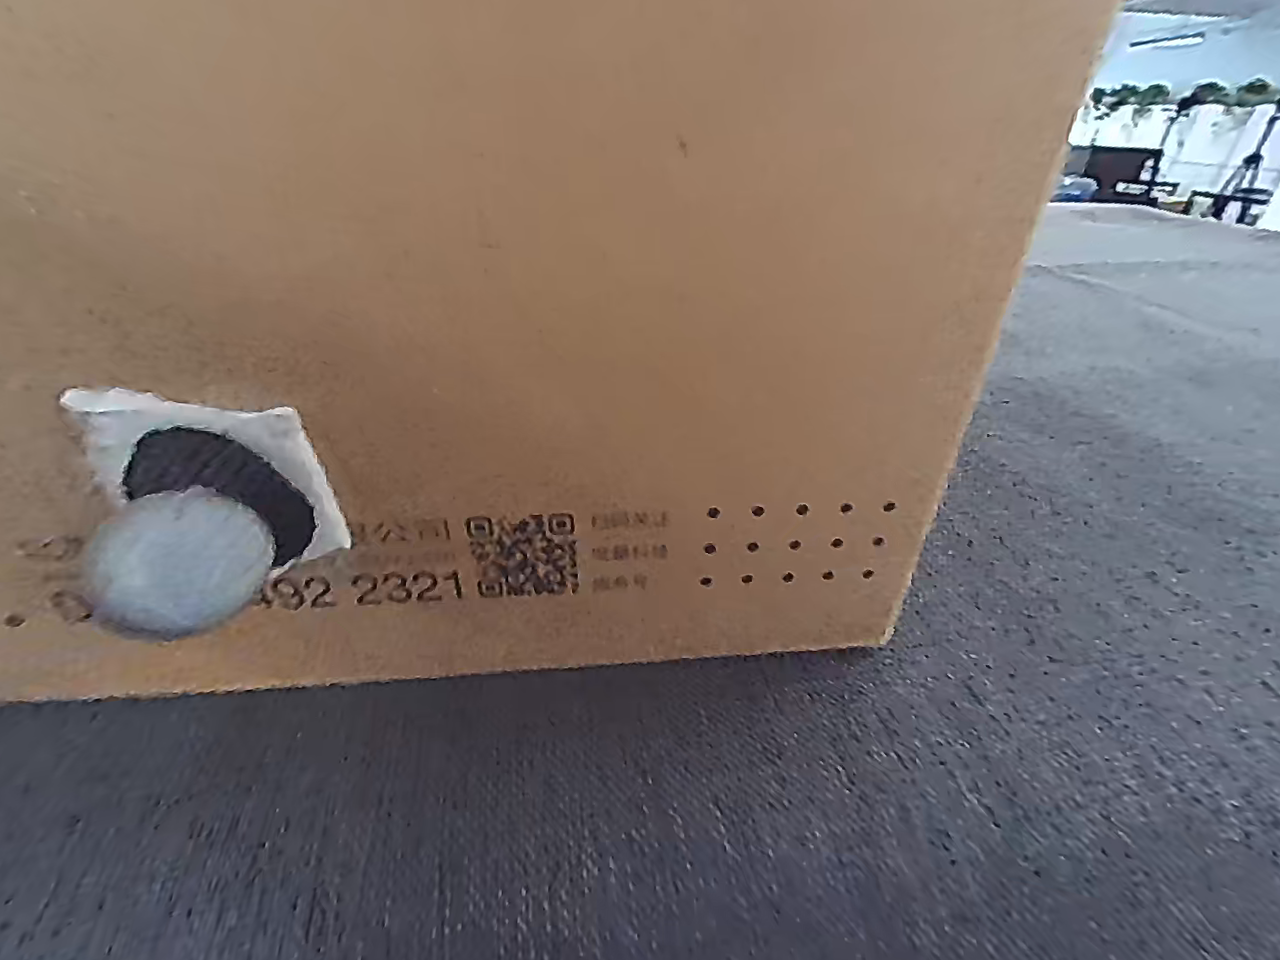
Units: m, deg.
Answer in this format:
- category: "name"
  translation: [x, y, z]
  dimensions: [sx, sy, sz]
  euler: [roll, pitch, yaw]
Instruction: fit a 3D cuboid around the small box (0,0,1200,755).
- category: "small box"
  translation: [-0.038, -0.076, 0.115]
  dimensions: [0.168, 0.176, 0.179]
  euler: [-3, 33, -5]
